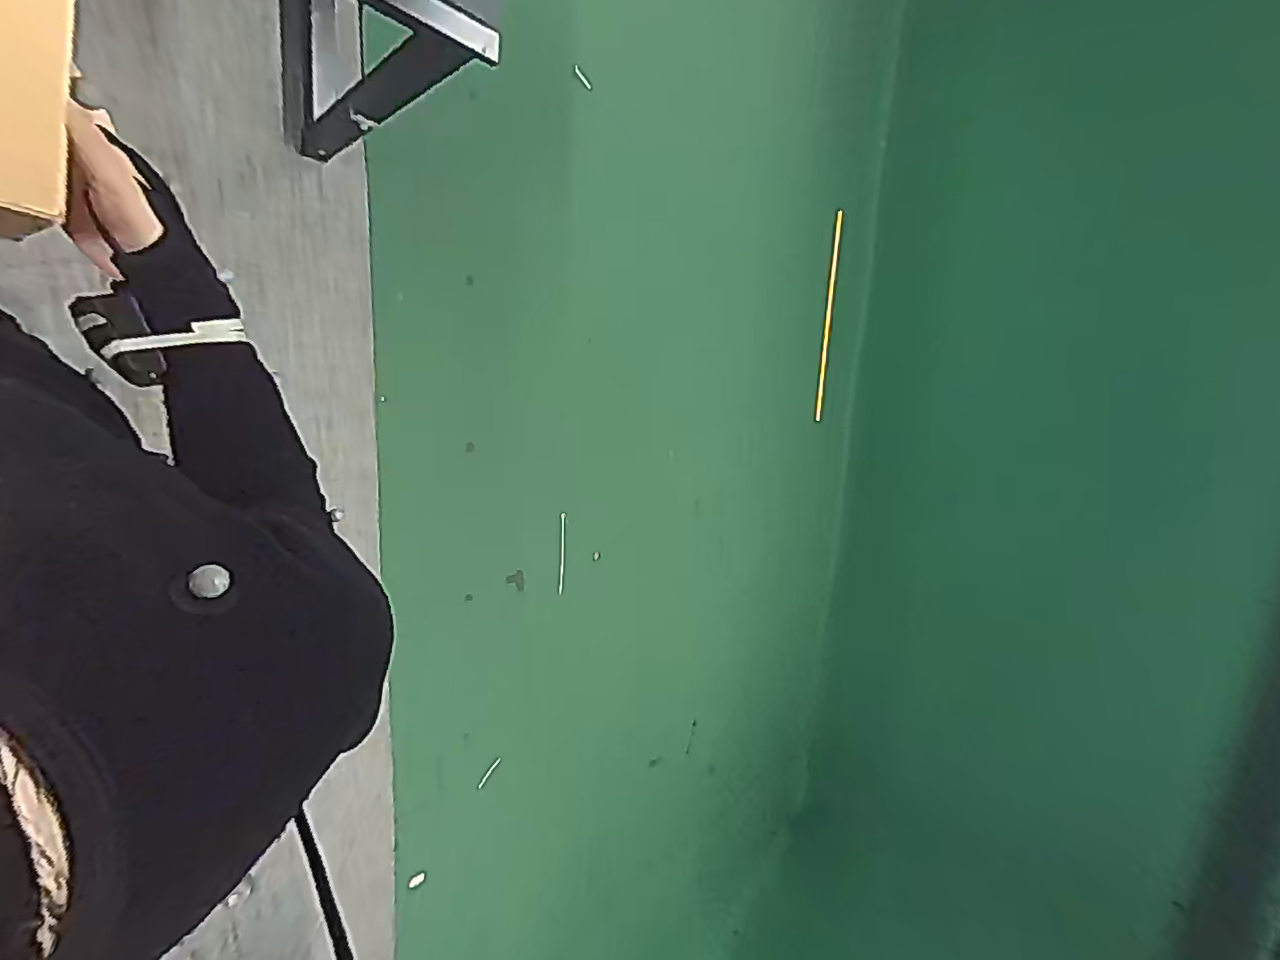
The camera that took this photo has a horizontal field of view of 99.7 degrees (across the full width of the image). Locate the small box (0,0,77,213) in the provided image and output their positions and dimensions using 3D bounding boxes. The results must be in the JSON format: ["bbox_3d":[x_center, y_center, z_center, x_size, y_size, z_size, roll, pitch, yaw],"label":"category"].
[{"bbox_3d":[-0.394,-0.246,0.248,0.168,0.176,0.179,2,101,-56],"label":"small box"}]
